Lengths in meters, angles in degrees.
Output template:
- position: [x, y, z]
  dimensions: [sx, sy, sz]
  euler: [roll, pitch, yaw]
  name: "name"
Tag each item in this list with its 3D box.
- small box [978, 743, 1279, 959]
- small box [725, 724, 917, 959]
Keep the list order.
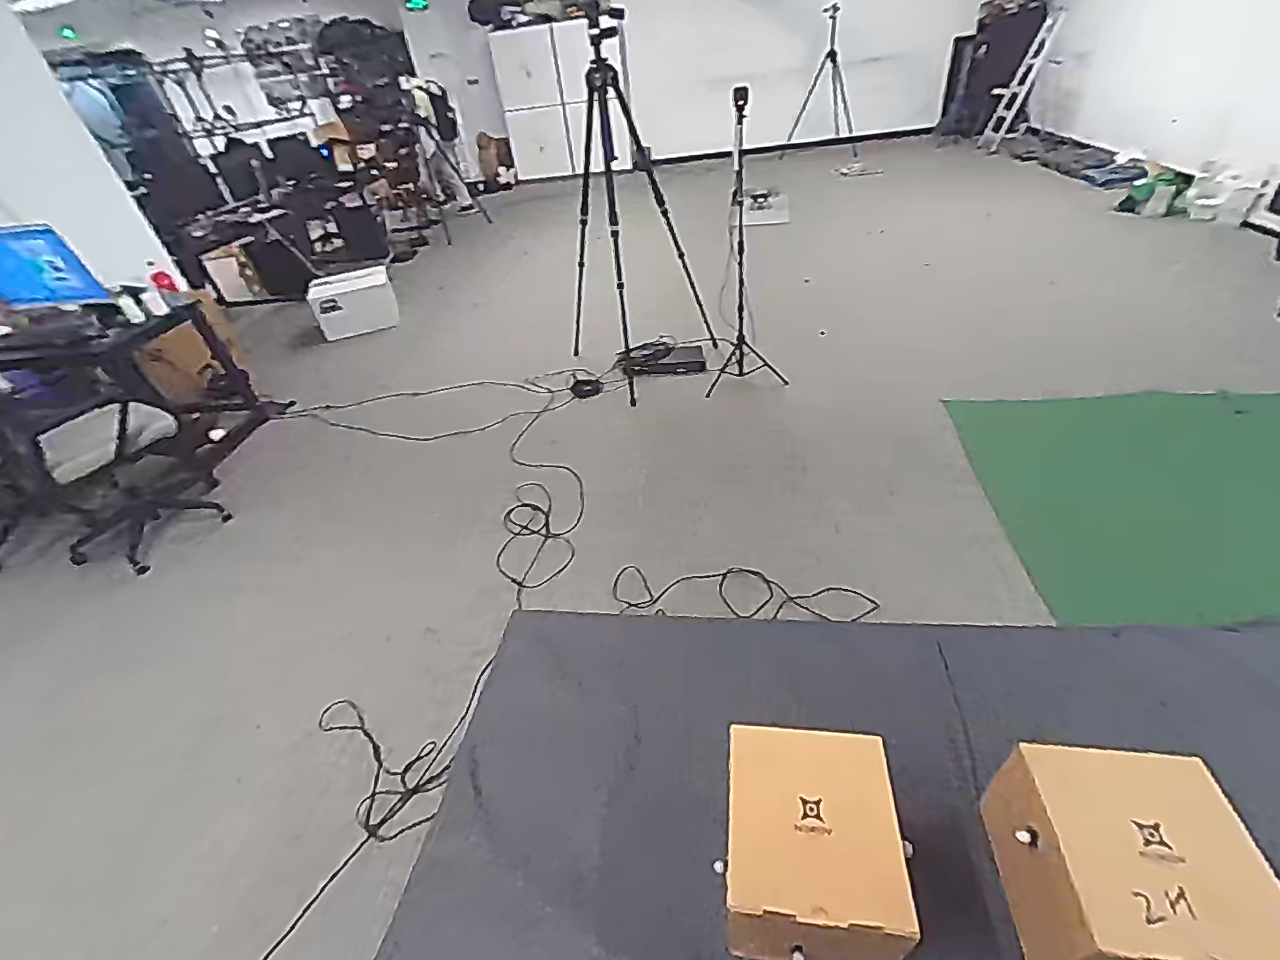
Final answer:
- position: [0.474, 0.399, 0.547]
  dimensions: [0.168, 0.176, 0.179]
  euler: [1, 39, 11]
  name: "small box"
- position: [0.180, 0.401, 0.597]
  dimensions: [0.168, 0.176, 0.179]
  euler: [1, 40, 10]
  name: "small box"
